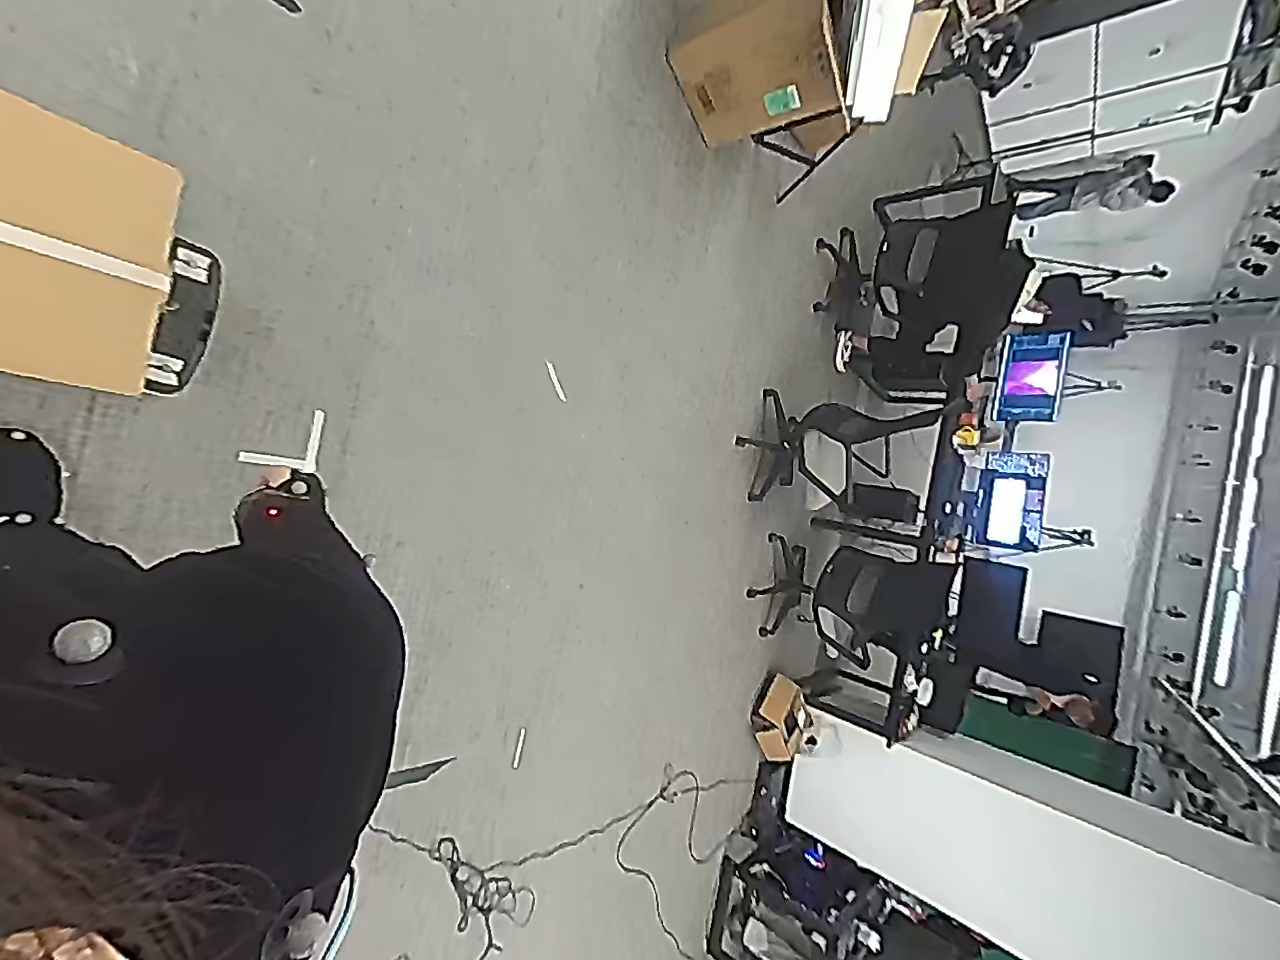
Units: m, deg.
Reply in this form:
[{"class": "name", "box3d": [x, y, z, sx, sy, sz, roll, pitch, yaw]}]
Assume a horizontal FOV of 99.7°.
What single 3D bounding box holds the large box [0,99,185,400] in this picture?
[{"class": "large box", "box3d": [-0.869, -0.295, 0.673, 0.408, 0.320, 0.320, 11, 88, -49]}]
